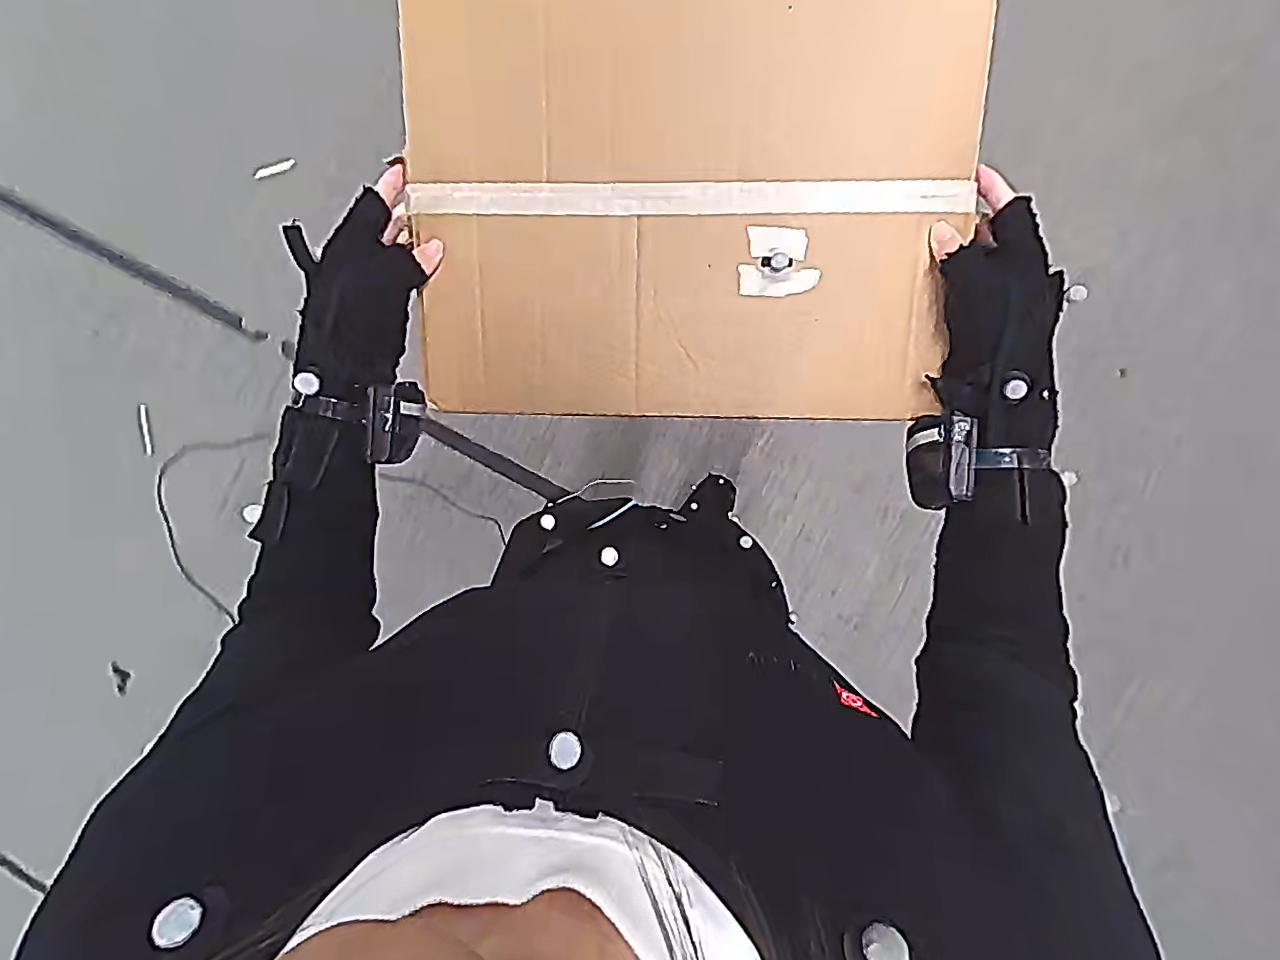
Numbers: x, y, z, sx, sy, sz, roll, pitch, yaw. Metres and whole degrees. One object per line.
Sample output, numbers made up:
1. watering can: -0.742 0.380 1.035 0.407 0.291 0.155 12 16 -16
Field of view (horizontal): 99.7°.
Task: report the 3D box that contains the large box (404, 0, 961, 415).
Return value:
1. large box: 0.033 -0.236 0.554 0.408 0.320 0.320 0 101 2
